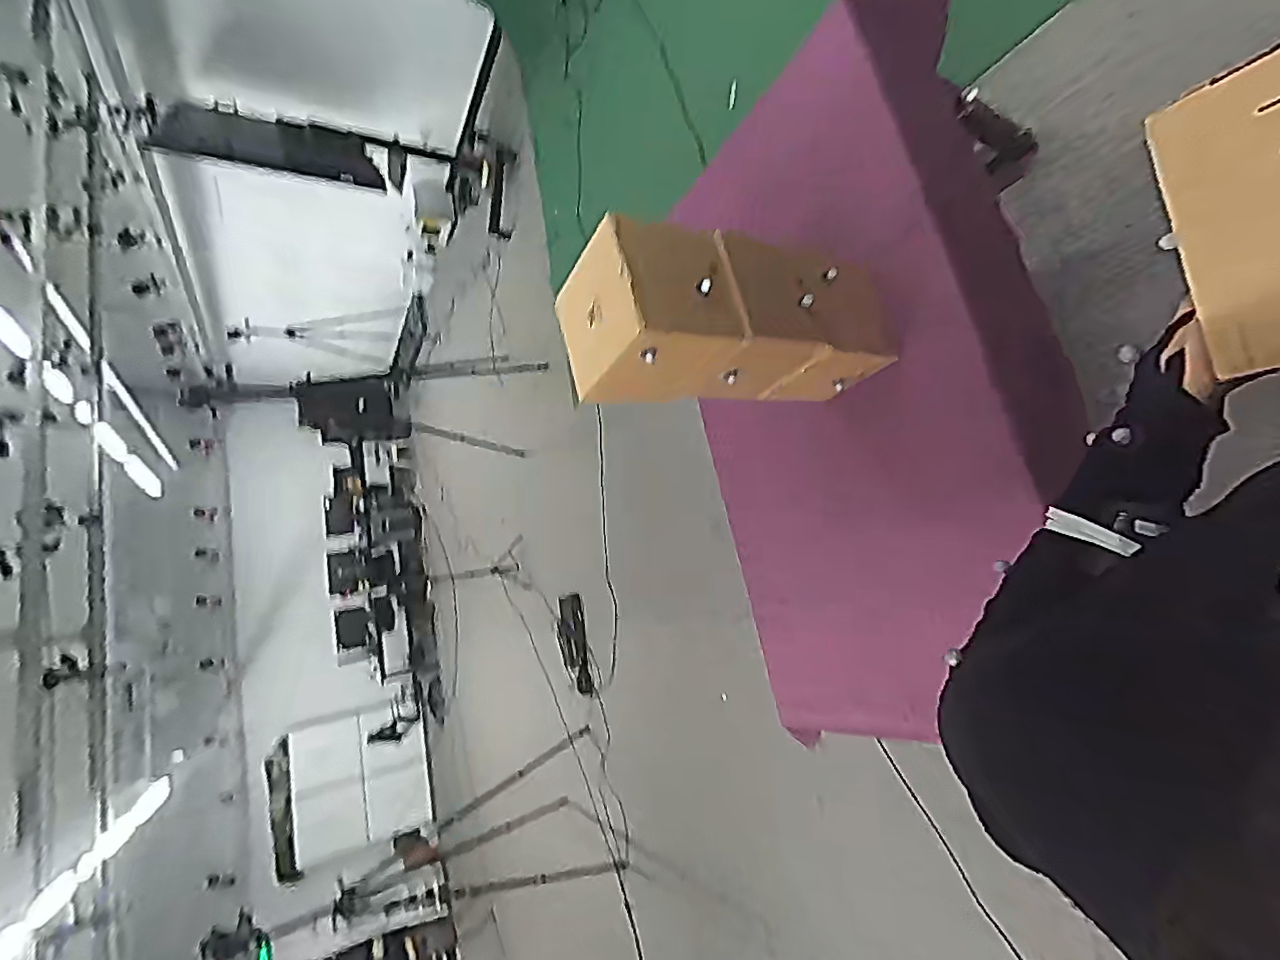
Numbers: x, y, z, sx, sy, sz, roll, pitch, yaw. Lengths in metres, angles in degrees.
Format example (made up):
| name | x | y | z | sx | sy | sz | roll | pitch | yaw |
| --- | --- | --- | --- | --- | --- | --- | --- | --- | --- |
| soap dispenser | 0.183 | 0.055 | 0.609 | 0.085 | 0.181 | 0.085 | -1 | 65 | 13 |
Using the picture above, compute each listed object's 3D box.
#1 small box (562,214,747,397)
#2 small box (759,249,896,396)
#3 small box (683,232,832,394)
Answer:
| name | x | y | z | sx | sy | sz | roll | pitch | yaw |
| --- | --- | --- | --- | --- | --- | --- | --- | --- | --- |
| small box | 0.015 | -0.222 | 0.741 | 0.179 | 0.176 | 0.168 | -36 | 65 | 53 |
| small box | 0.292 | -0.252 | 0.910 | 0.168 | 0.176 | 0.179 | -32 | 67 | 55 |
| small box | 0.154 | -0.239 | 0.824 | 0.179 | 0.176 | 0.168 | -33 | 68 | 54 |
